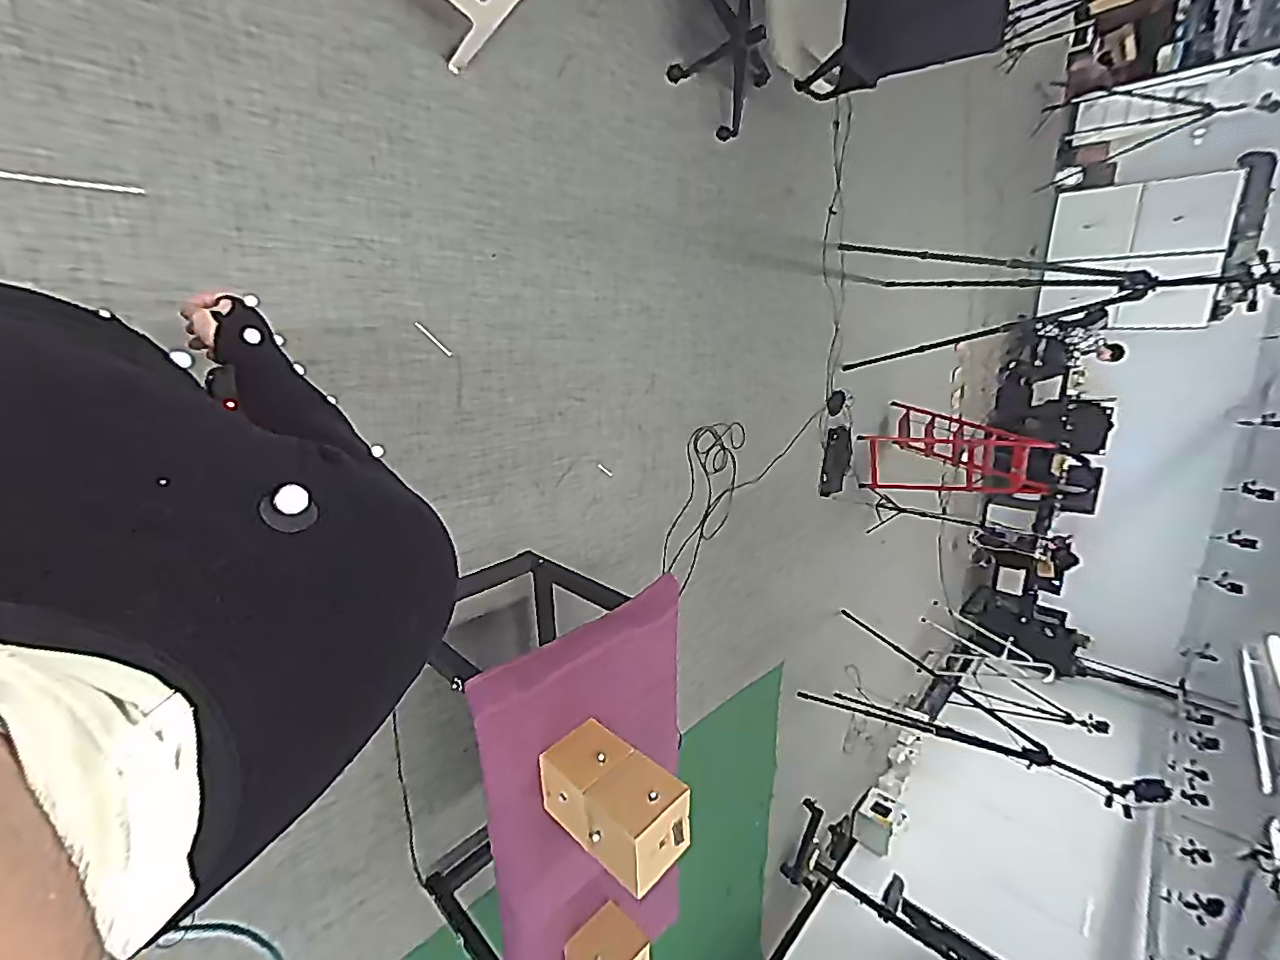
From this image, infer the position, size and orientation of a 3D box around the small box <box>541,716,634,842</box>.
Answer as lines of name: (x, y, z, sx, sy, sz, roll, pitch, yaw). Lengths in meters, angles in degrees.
small box: (-0.129, 0.725, 1.330, 0.179, 0.176, 0.168, -19, 114, -43)

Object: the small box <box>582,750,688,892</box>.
small box: (-0.010, 0.755, 1.221, 0.179, 0.176, 0.168, -17, 112, -43)
